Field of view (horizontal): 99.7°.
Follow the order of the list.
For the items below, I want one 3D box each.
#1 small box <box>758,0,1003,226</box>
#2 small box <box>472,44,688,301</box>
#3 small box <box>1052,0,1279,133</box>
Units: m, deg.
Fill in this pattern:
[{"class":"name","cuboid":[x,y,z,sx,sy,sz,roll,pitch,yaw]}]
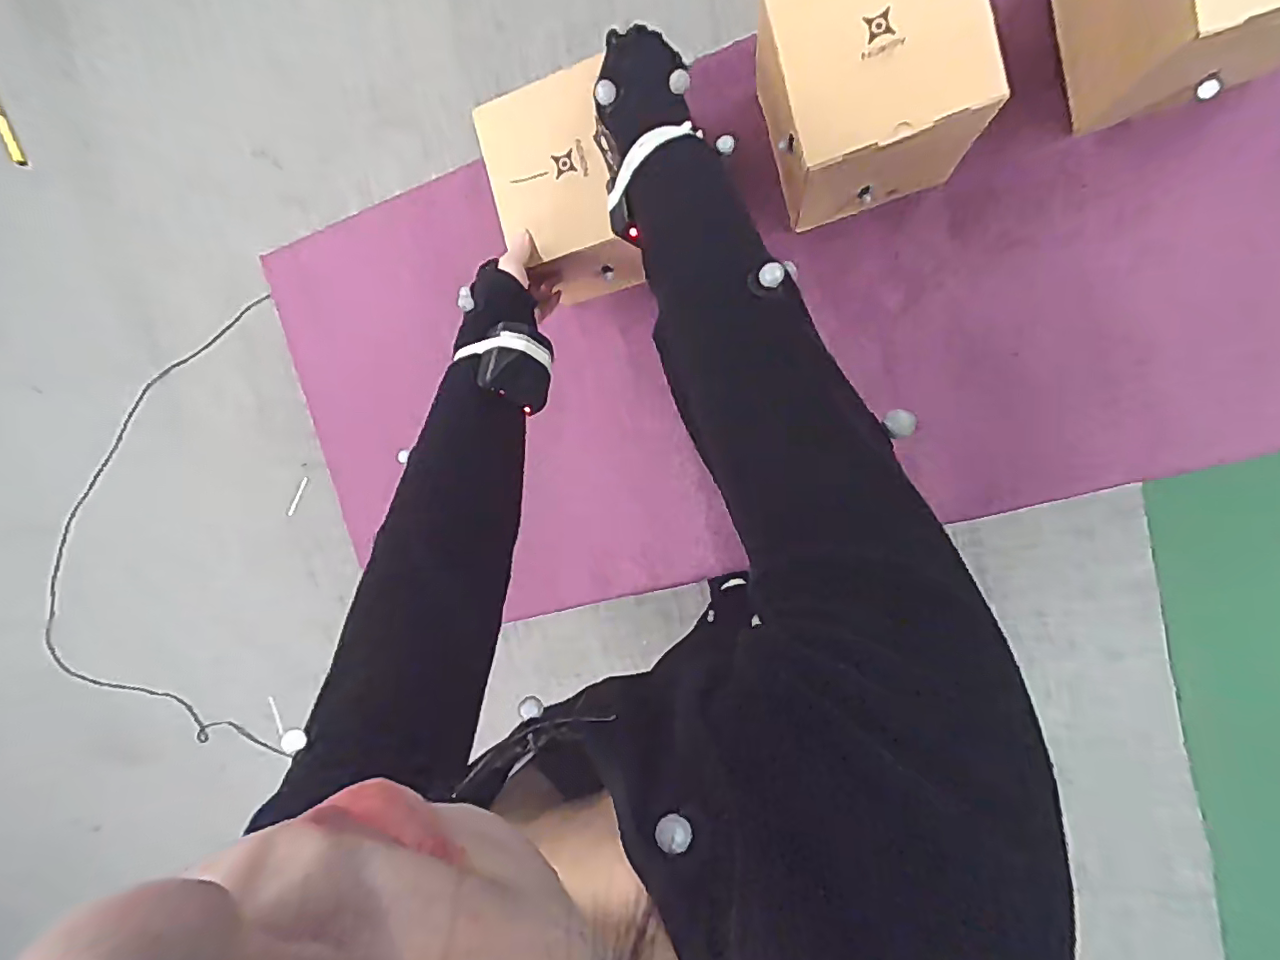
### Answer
[{"class":"small box","cuboid":[0.216,-0.385,0.533,0.168,0.176,0.179,-15,94,13]},{"class":"small box","cuboid":[-0.049,-0.315,0.597,0.179,0.176,0.168,-13,94,14]},{"class":"small box","cuboid":[0.489,-0.446,0.461,0.168,0.176,0.179,-12,97,14]}]
